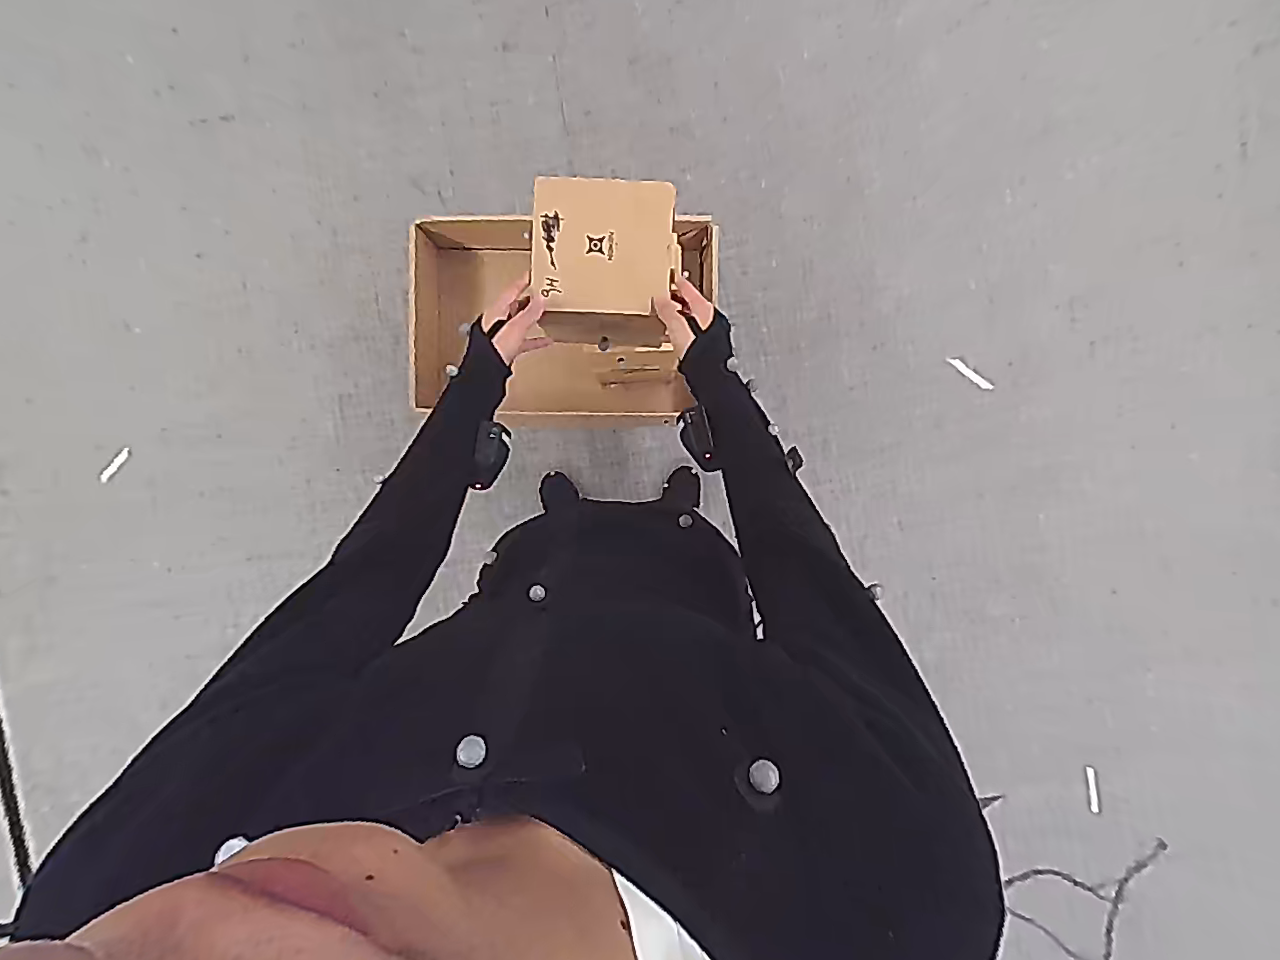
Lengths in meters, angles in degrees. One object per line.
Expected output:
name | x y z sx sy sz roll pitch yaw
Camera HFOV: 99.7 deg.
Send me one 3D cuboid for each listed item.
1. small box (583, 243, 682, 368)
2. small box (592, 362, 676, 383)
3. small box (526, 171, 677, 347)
small box | -0.012 -0.295 0.953 0.168 0.176 0.179 -2 91 0
small box | -0.012 -0.298 1.116 0.168 0.176 0.179 -2 91 0
small box | -0.050 -0.283 0.729 0.179 0.176 0.168 3 90 -2
